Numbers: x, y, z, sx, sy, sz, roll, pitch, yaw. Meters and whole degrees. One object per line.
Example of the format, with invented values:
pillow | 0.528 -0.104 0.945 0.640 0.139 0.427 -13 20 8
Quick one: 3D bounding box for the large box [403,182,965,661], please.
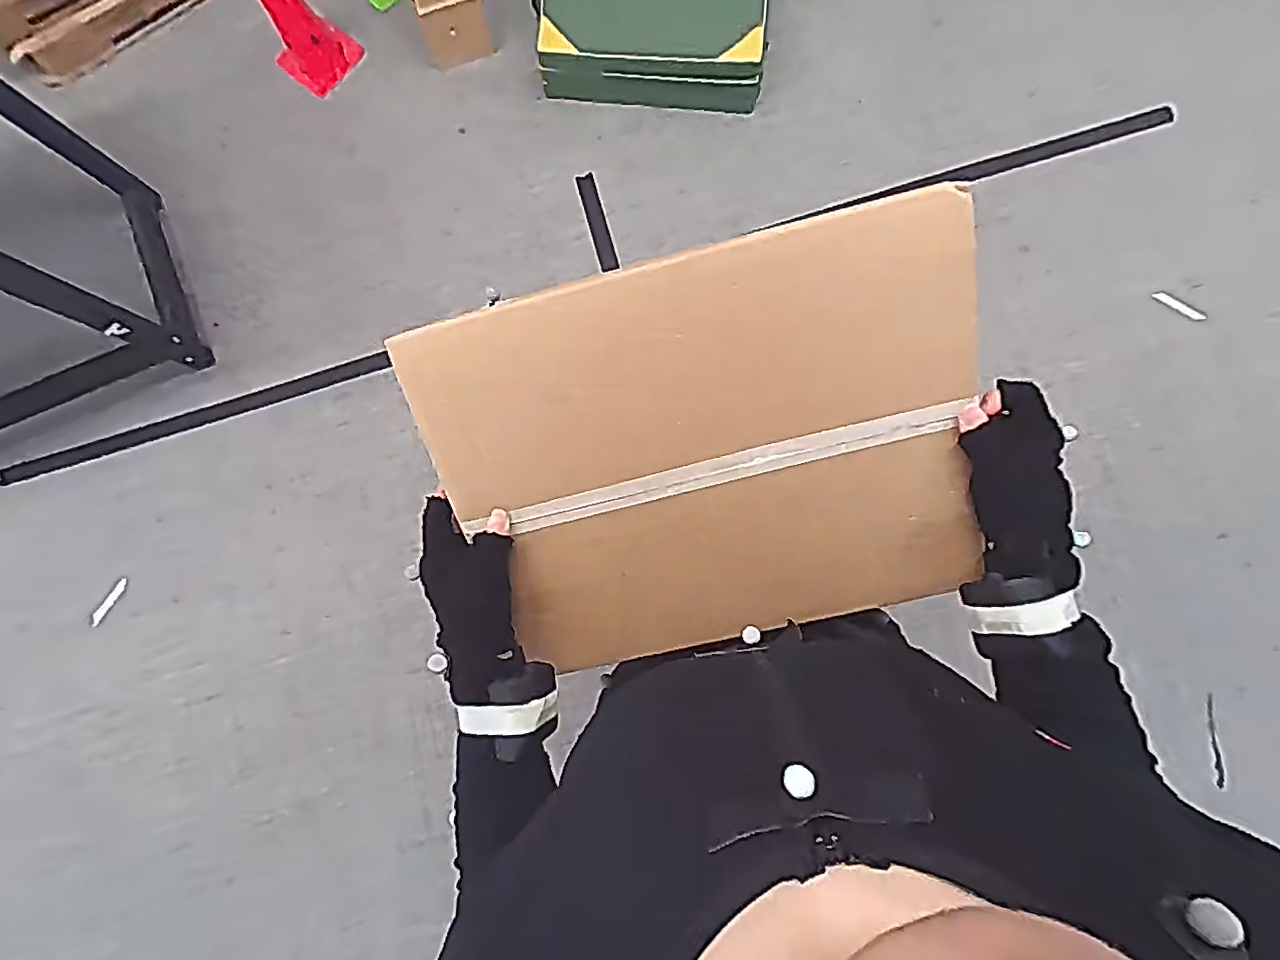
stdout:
large box | 0.050 -0.068 0.570 0.408 0.320 0.320 -14 112 5
